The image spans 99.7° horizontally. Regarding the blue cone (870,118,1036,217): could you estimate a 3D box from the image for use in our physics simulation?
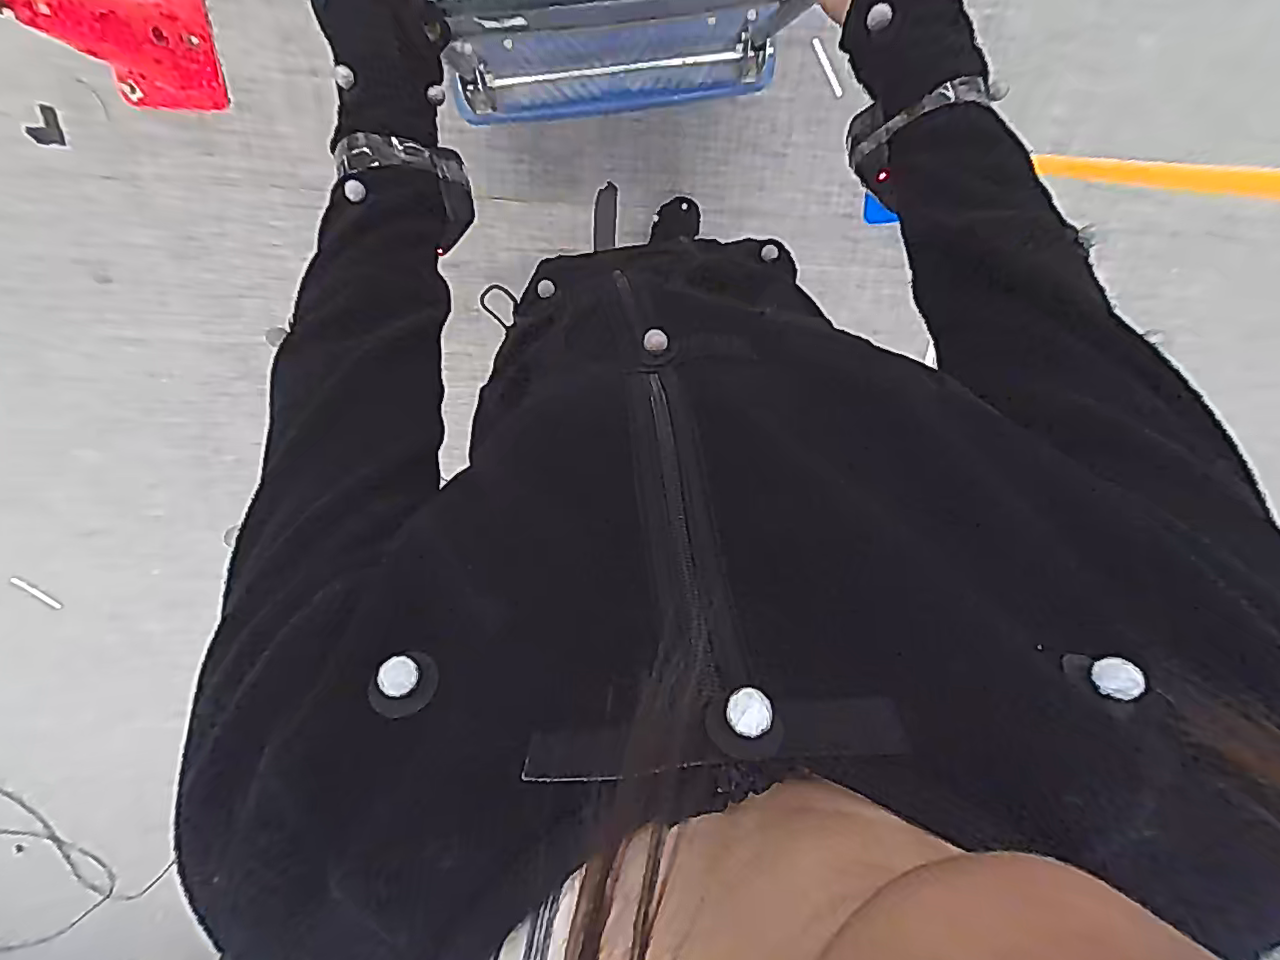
[{"bbox_3d":[0.627,-0.626,1.065,0.193,0.380,0.192,-2,116,-3],"label":"blue cone"}]
